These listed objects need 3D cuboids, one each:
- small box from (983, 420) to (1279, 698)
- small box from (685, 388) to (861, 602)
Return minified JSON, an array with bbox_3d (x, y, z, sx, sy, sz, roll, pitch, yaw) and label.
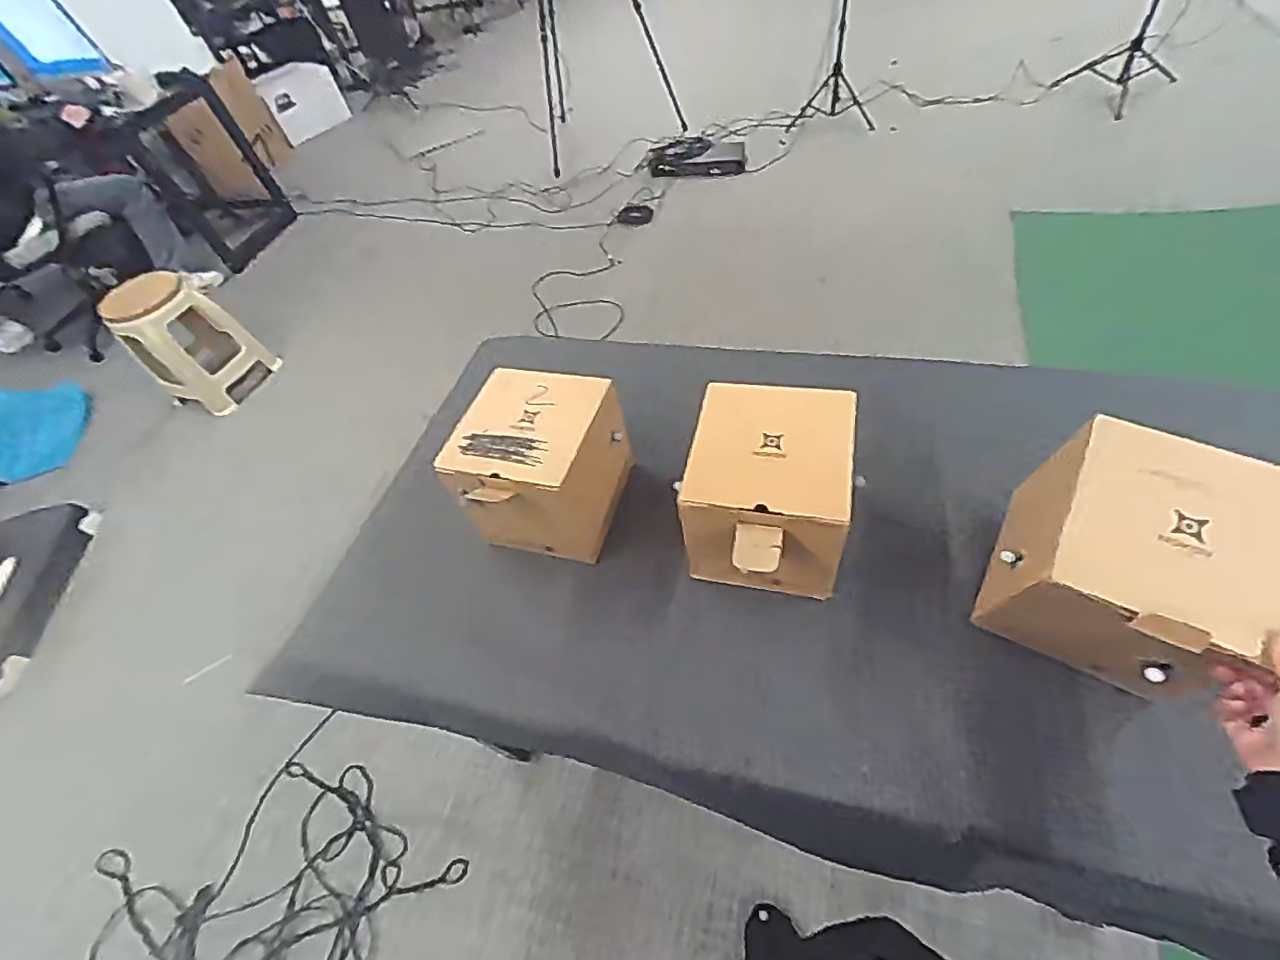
[{"bbox_3d":[0.451,0.080,0.502,0.168,0.176,0.179,23,69,20],"label":"small box"},{"bbox_3d":[0.154,0.018,0.632,0.168,0.176,0.179,7,55,16],"label":"small box"}]
